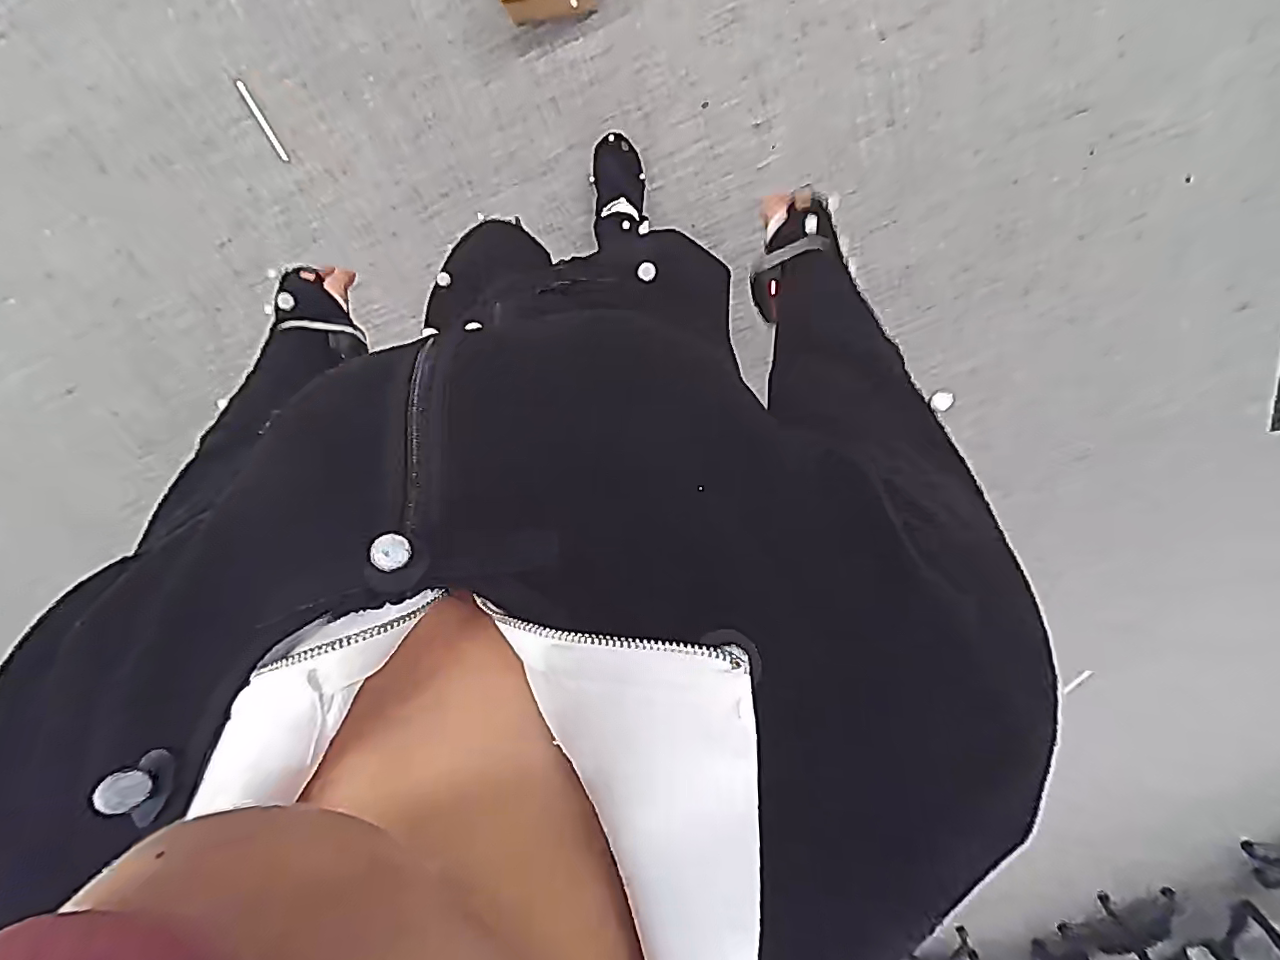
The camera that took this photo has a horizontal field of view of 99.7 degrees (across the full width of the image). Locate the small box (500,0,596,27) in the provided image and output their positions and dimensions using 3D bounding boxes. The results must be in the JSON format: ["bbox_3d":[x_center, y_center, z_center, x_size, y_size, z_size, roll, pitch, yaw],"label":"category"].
[{"bbox_3d":[-0.175,-0.956,0.983,0.179,0.176,0.168,-8,119,2],"label":"small box"}]
